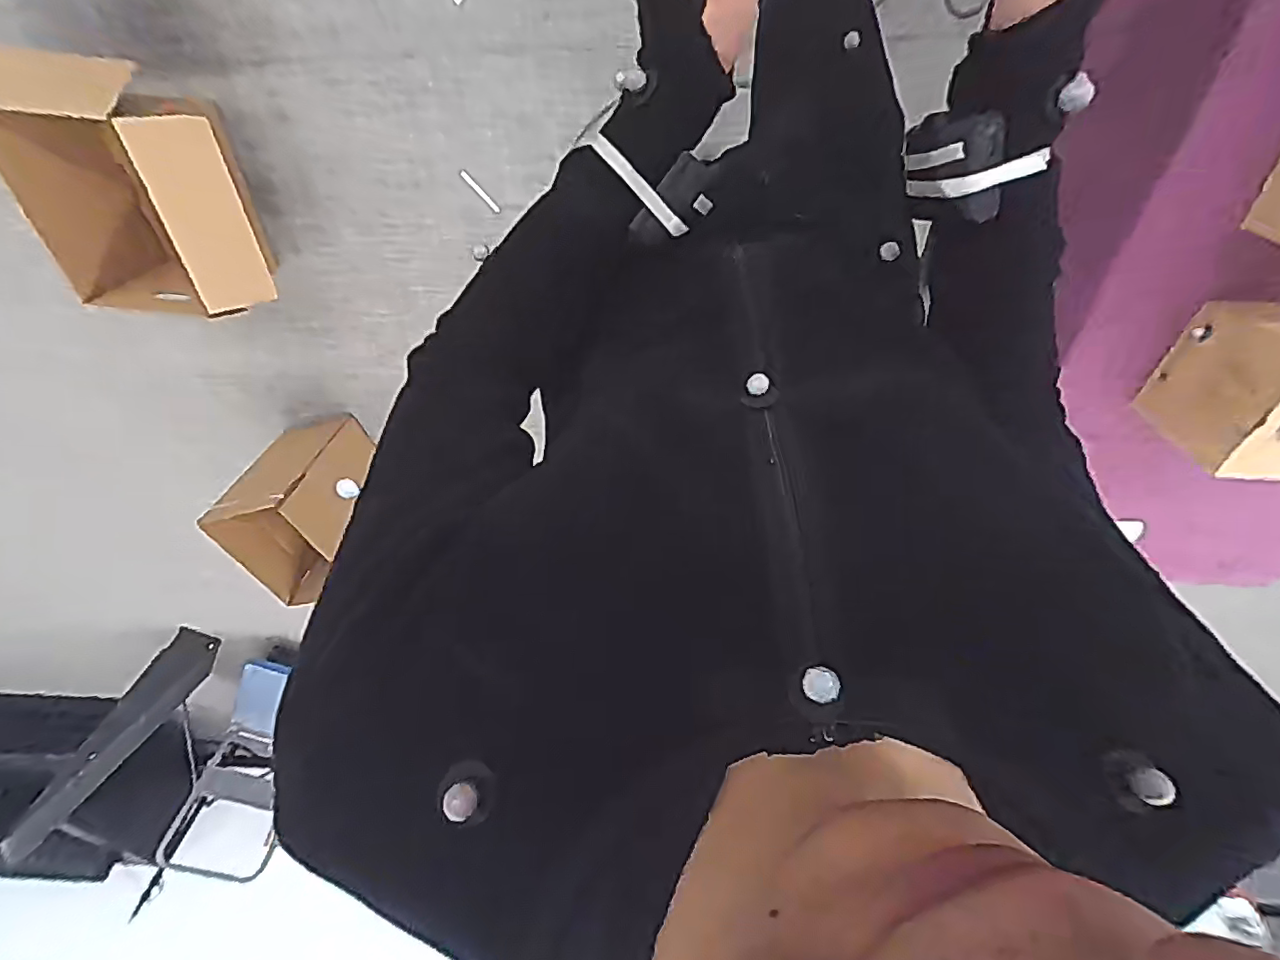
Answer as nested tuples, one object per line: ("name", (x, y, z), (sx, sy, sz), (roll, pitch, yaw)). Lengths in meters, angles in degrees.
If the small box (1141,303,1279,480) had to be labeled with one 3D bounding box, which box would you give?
("small box", (0.820, -0.116, 0.694), (0.179, 0.176, 0.168), (3, 131, 1))
